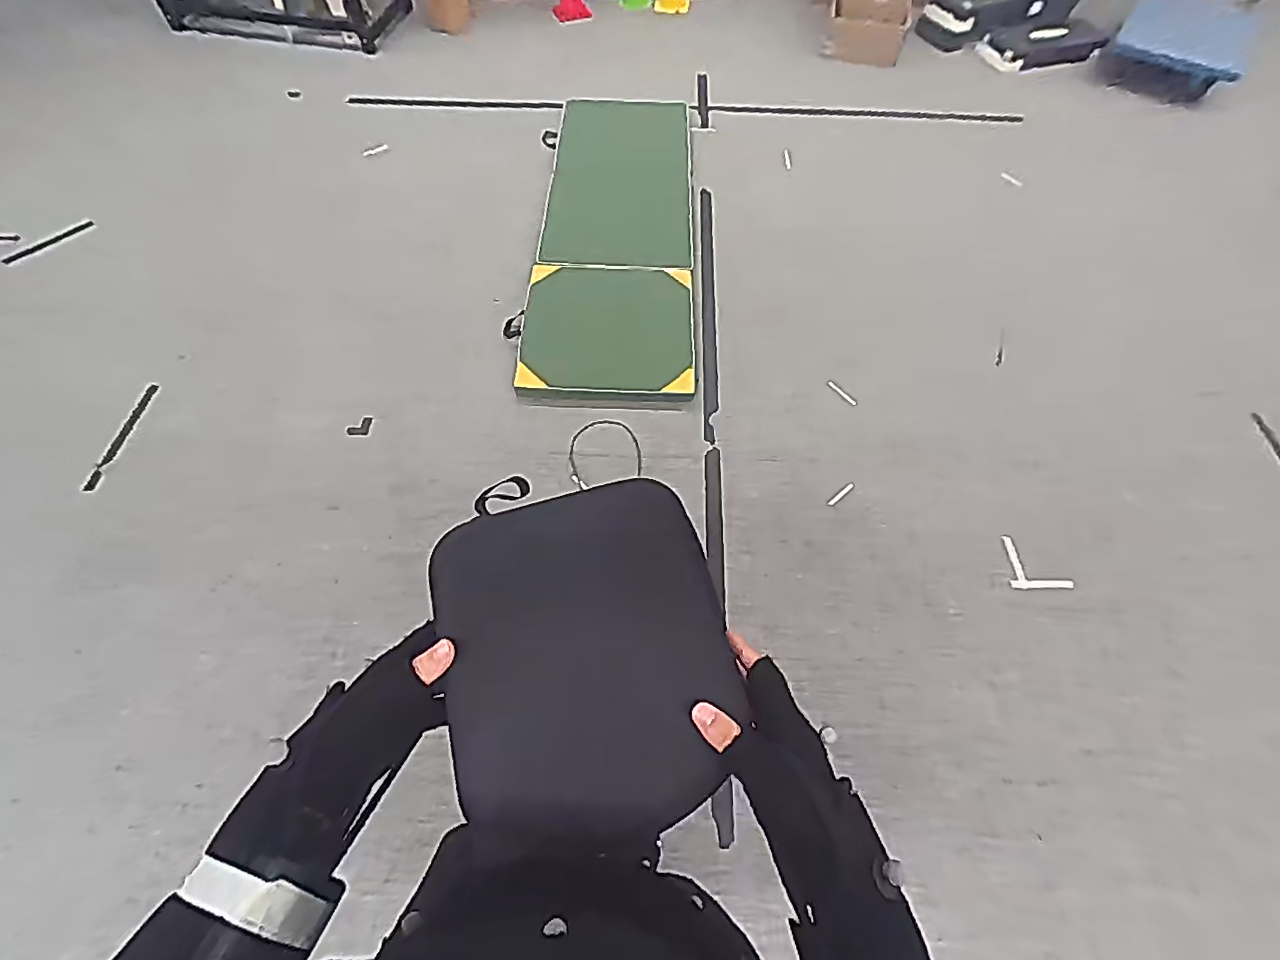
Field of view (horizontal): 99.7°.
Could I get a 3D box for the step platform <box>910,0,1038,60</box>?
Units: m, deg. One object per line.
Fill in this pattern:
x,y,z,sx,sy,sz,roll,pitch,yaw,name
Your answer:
1.914,-2.634,3.094,0.684,0.204,0.286,-24,64,-14,step platform
